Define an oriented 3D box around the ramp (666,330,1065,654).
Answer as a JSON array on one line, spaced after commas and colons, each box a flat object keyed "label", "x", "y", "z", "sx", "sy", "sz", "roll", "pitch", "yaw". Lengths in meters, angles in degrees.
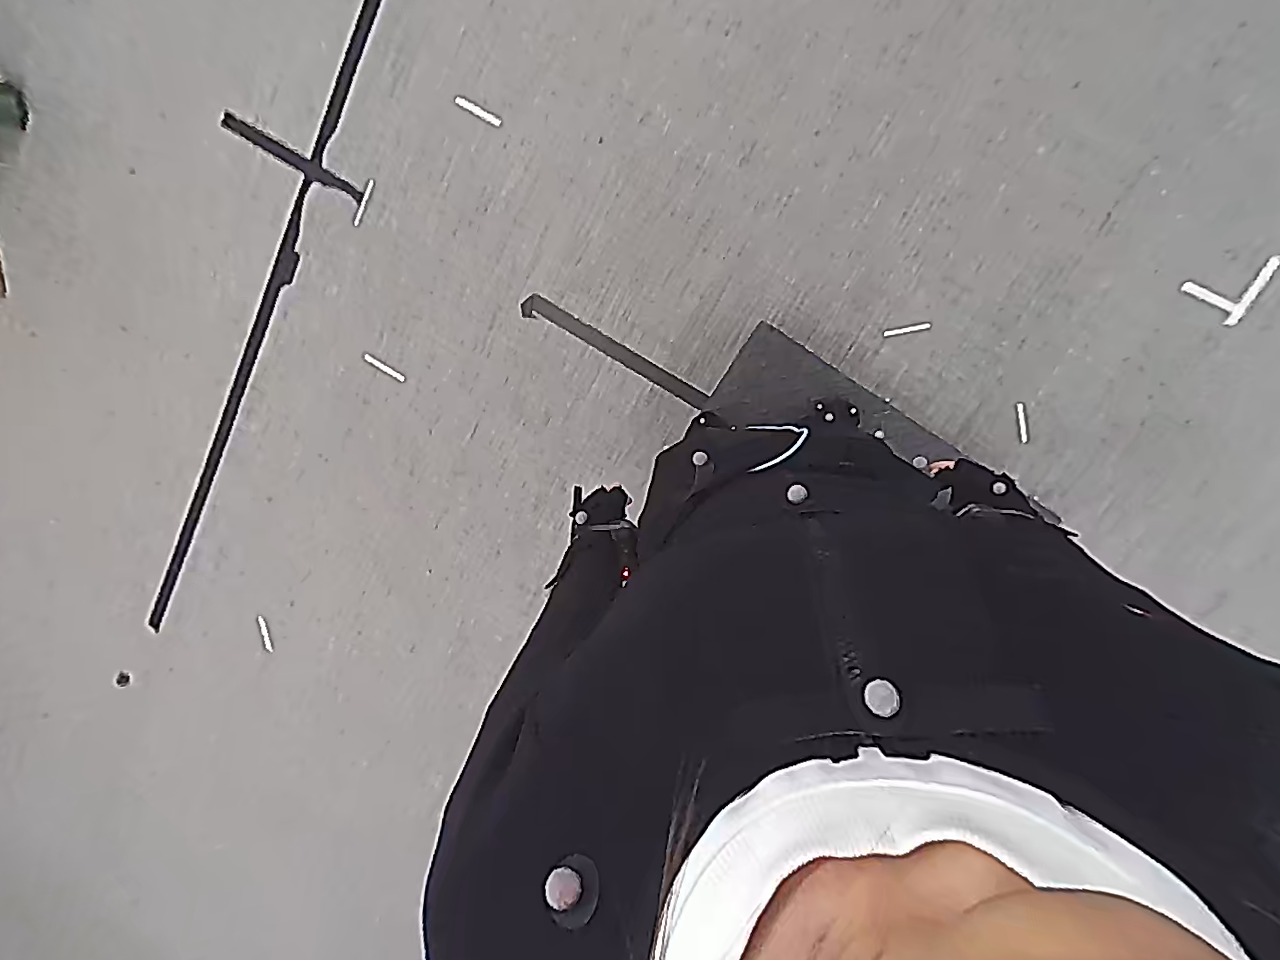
[{"label": "ramp", "x": 0.615, "y": 0.060, "z": 1.465, "sx": 0.991, "sy": 0.206, "sz": 0.509, "roll": 30, "pitch": 101, "yaw": 4}]
